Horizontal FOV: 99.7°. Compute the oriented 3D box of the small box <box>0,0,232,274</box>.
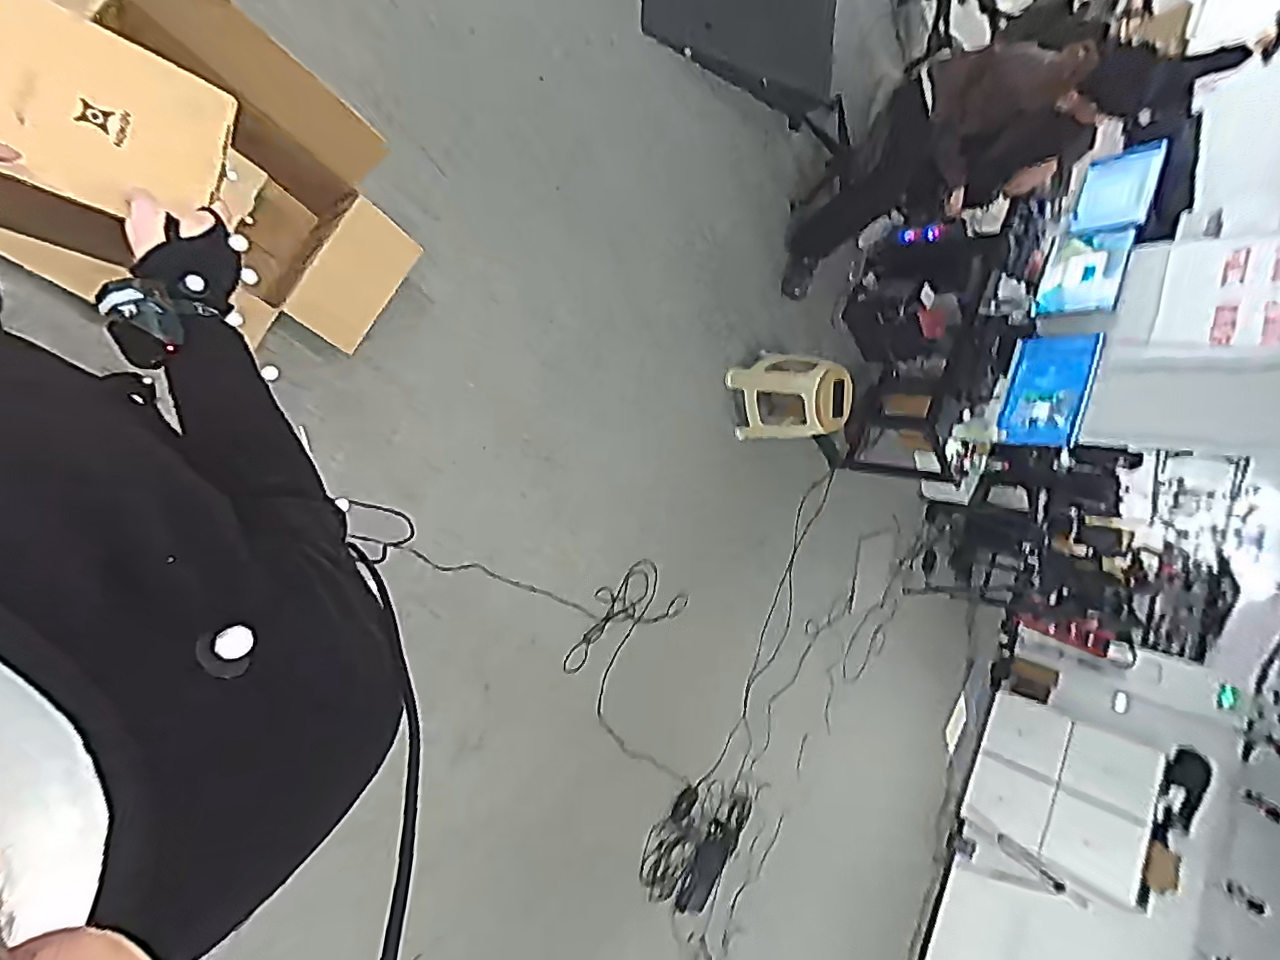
[{"bbox_3d":[-0.537,-0.327,0.533,0.179,0.176,0.168,16,77,-41],"label":"small box"}]
